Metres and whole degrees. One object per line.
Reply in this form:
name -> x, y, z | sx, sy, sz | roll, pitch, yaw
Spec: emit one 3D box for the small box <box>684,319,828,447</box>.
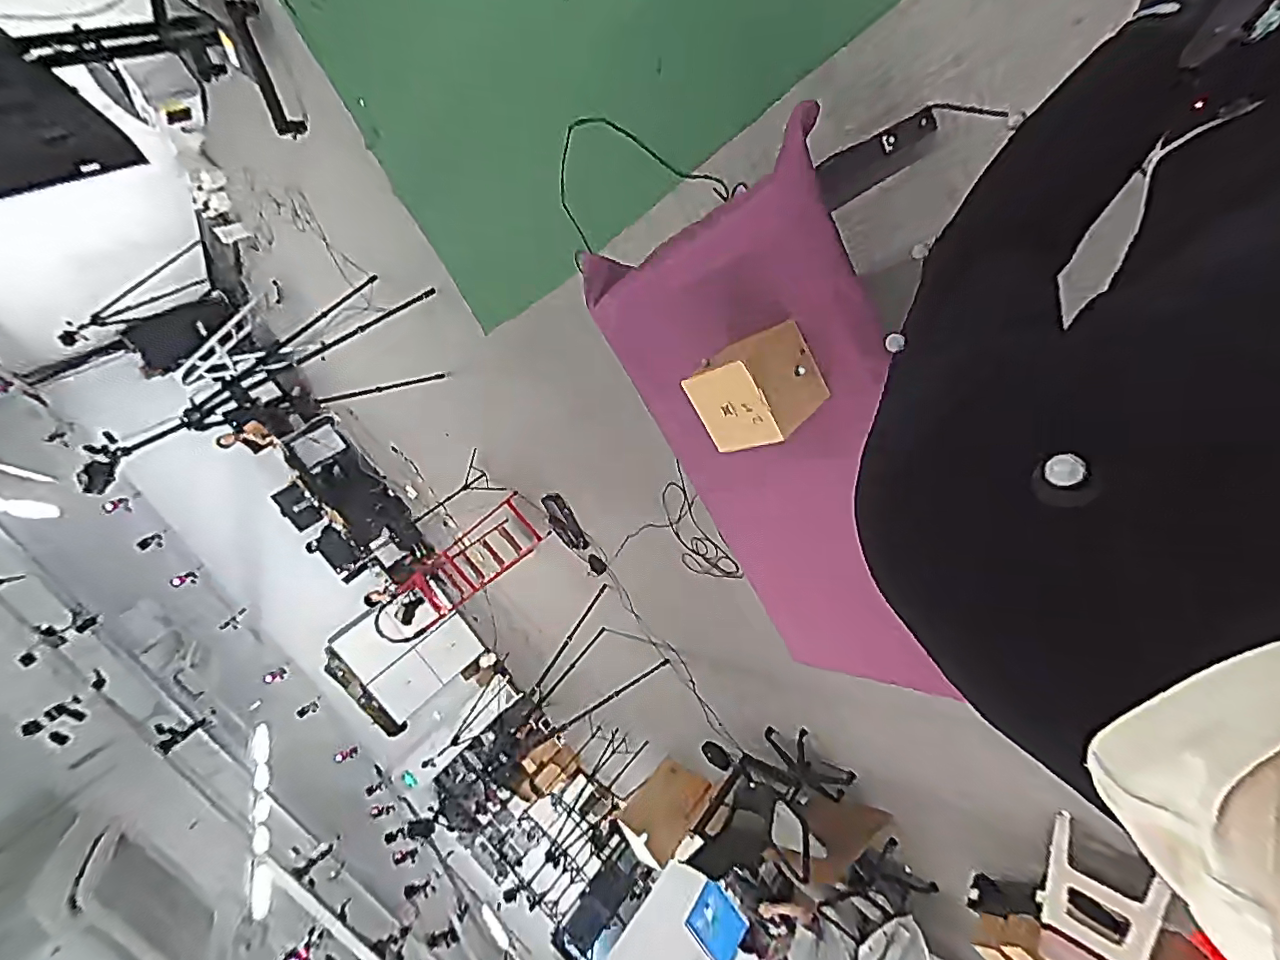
small box -> 0.225, -0.183, 1.042 | 0.179, 0.176, 0.168 | -8, 118, 56
